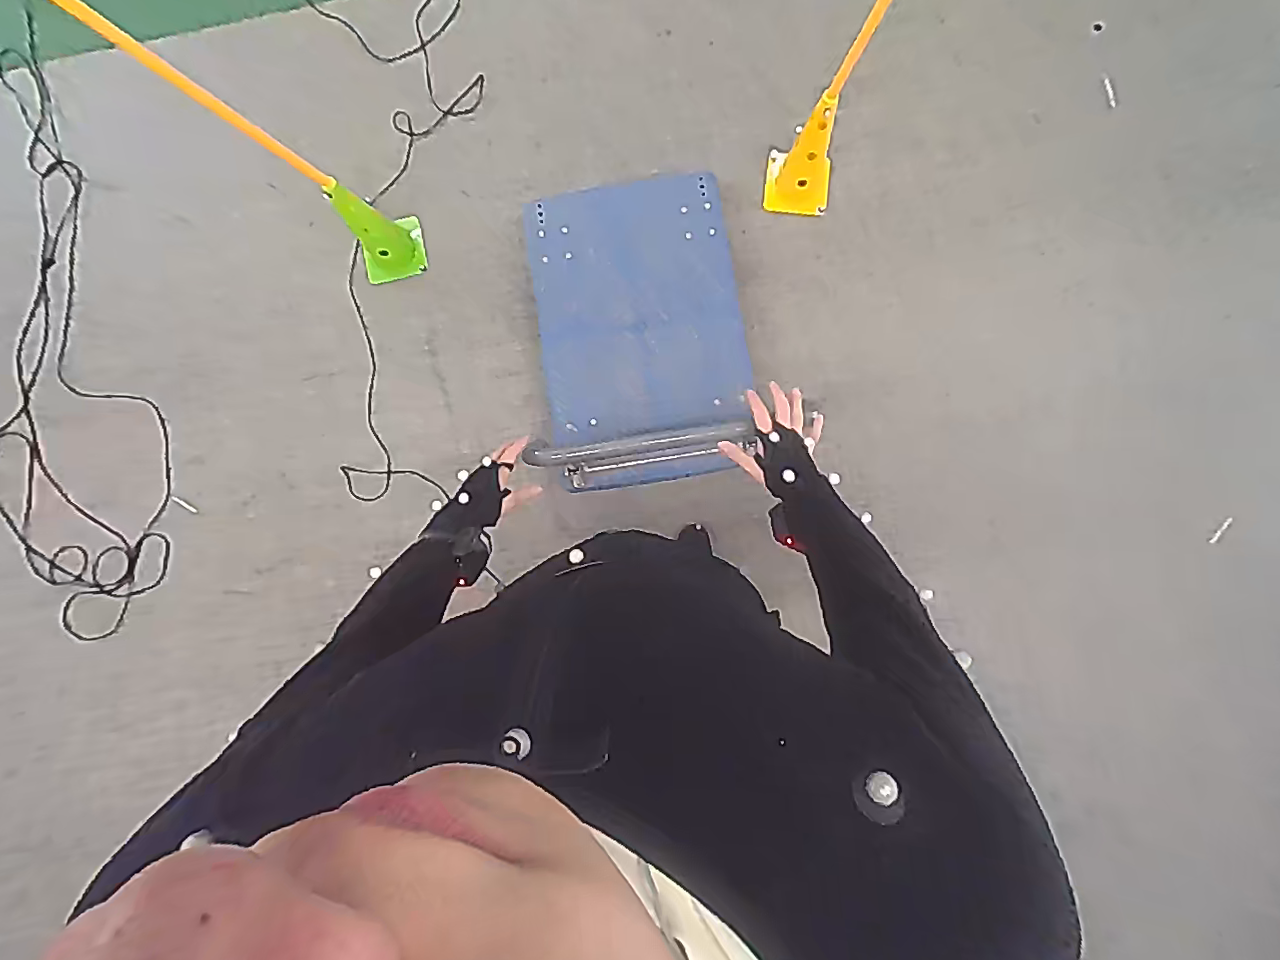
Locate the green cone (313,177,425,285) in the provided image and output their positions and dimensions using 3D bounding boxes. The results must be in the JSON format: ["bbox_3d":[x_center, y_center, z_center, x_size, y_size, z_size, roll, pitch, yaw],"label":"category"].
[{"bbox_3d":[-0.825,-0.768,1.598,0.202,0.368,0.200,-14,84,3],"label":"green cone"}]
